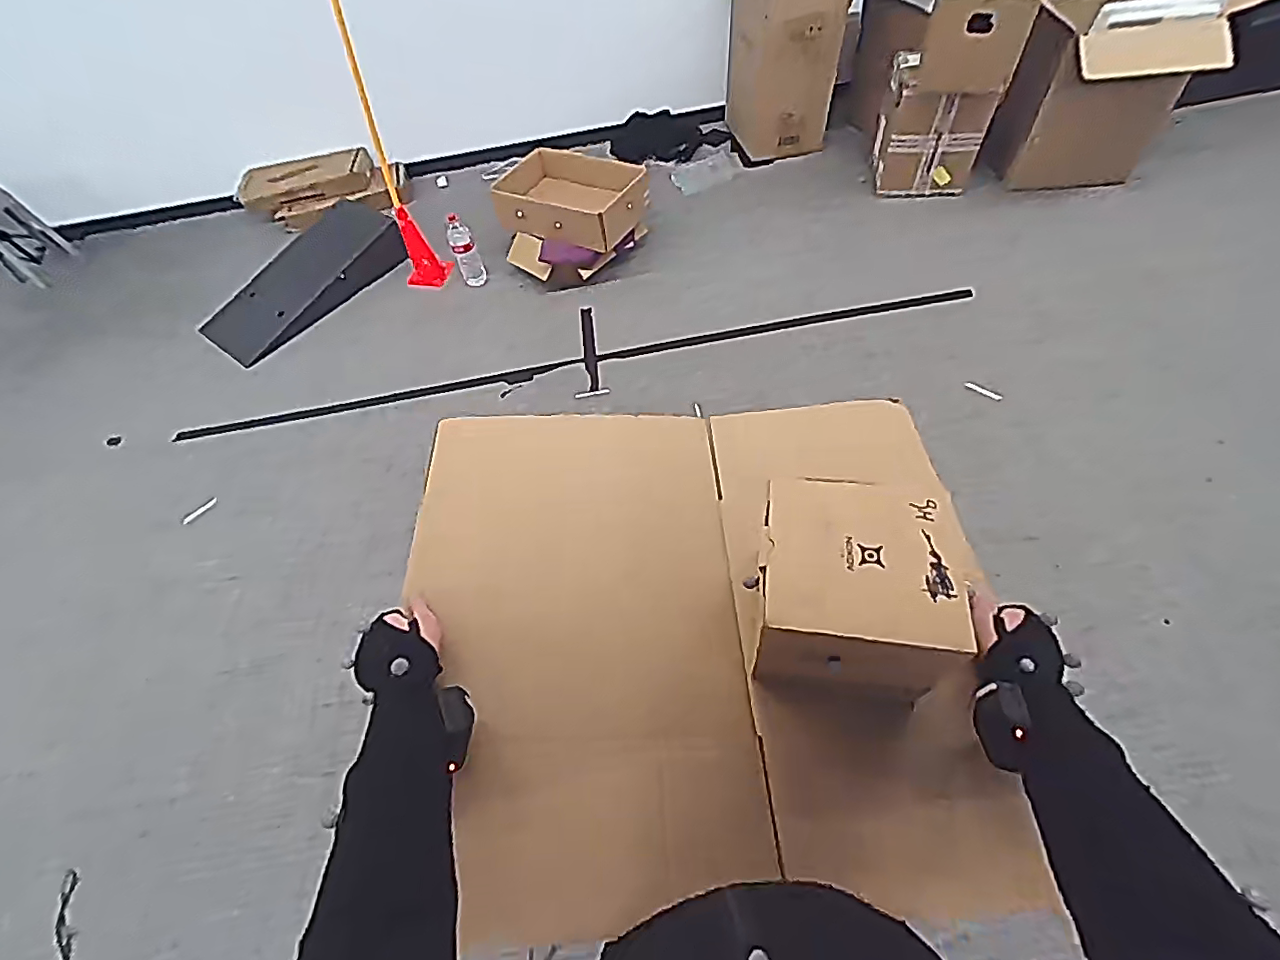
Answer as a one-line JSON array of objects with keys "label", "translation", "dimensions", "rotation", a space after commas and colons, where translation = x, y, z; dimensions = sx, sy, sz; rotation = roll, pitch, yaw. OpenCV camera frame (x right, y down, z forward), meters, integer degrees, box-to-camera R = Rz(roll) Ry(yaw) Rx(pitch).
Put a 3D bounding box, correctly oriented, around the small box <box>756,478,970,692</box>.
[{"label": "small box", "translation": [0.218, 0.115, 0.578], "dimensions": [0.179, 0.176, 0.168], "rotation": [4, 56, 12]}]
